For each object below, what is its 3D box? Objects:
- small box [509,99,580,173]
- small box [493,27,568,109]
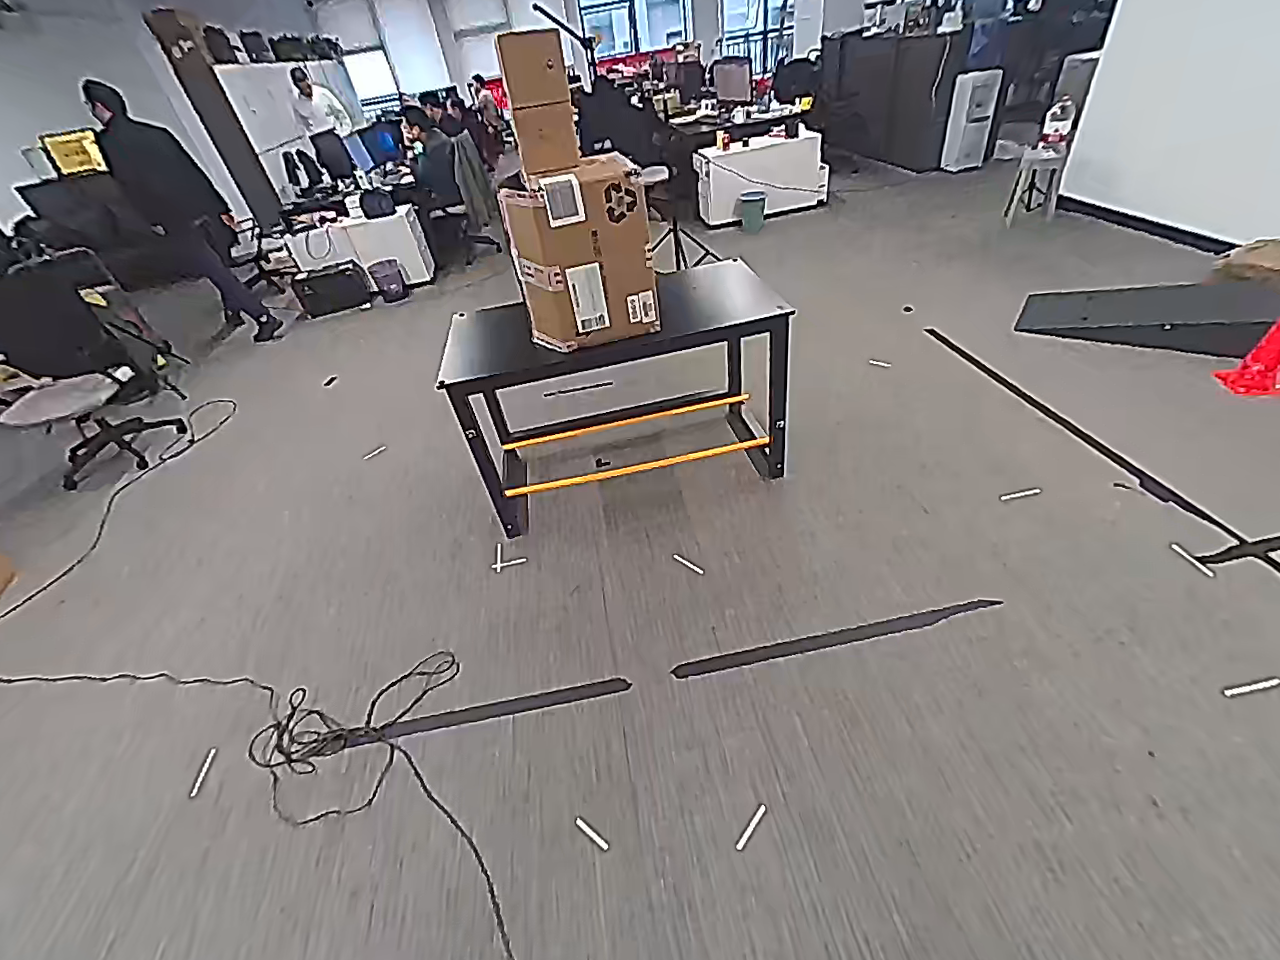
[{"bbox_3d":[-0.295,-1.061,1.669,0.179,0.176,0.168,-14,37,-6],"label":"small box"},{"bbox_3d":[-0.314,-1.187,1.566,0.179,0.176,0.168,-16,37,-8],"label":"small box"}]
